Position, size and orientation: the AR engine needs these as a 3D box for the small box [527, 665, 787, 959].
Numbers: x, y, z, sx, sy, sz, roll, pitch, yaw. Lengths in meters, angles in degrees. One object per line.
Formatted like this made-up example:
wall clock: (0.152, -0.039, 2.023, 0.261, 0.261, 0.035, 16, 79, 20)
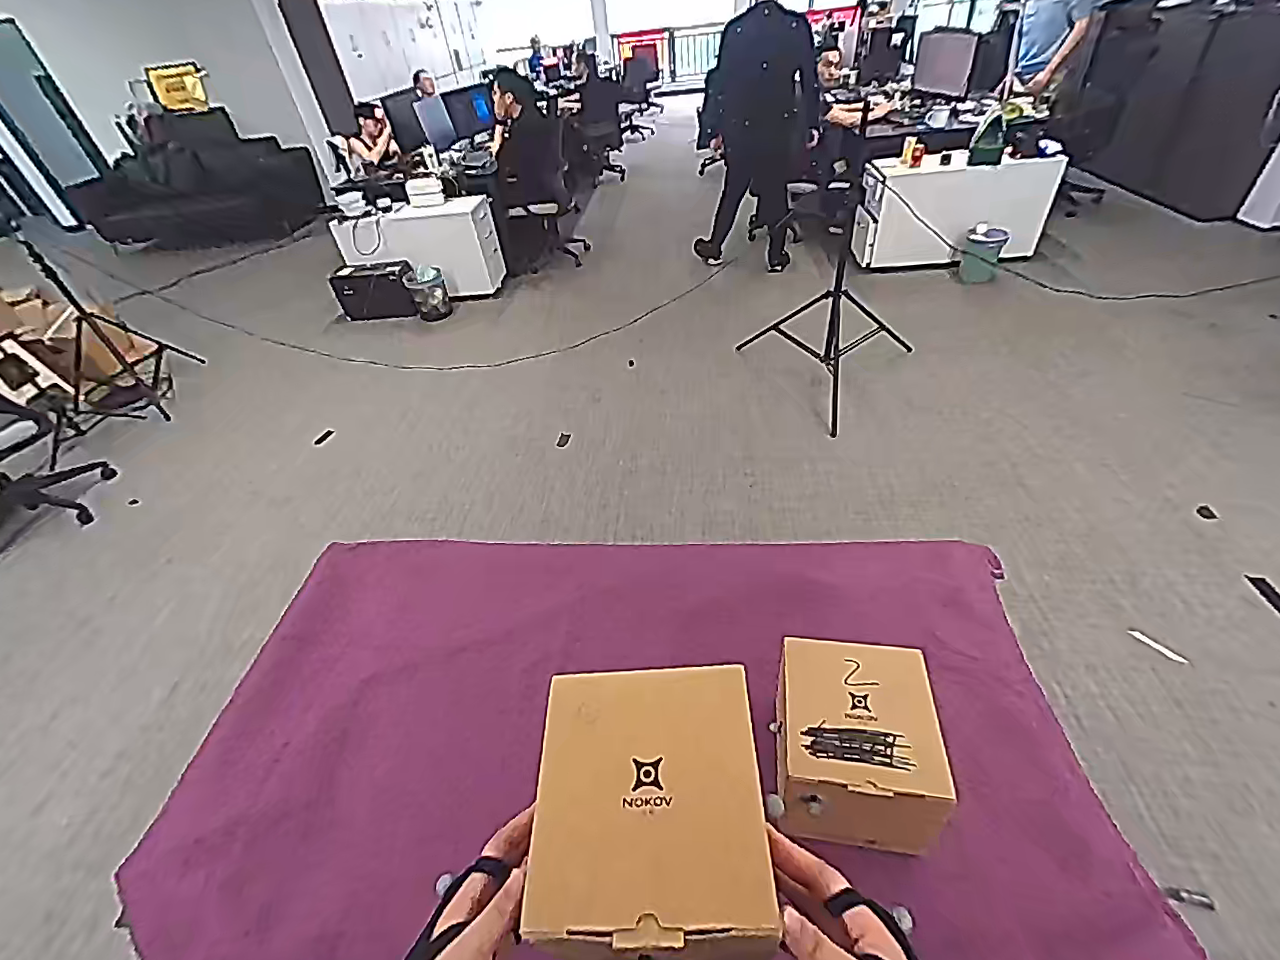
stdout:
small box: (0.018, 0.277, 0.448, 0.168, 0.176, 0.179, -5, 43, 5)
